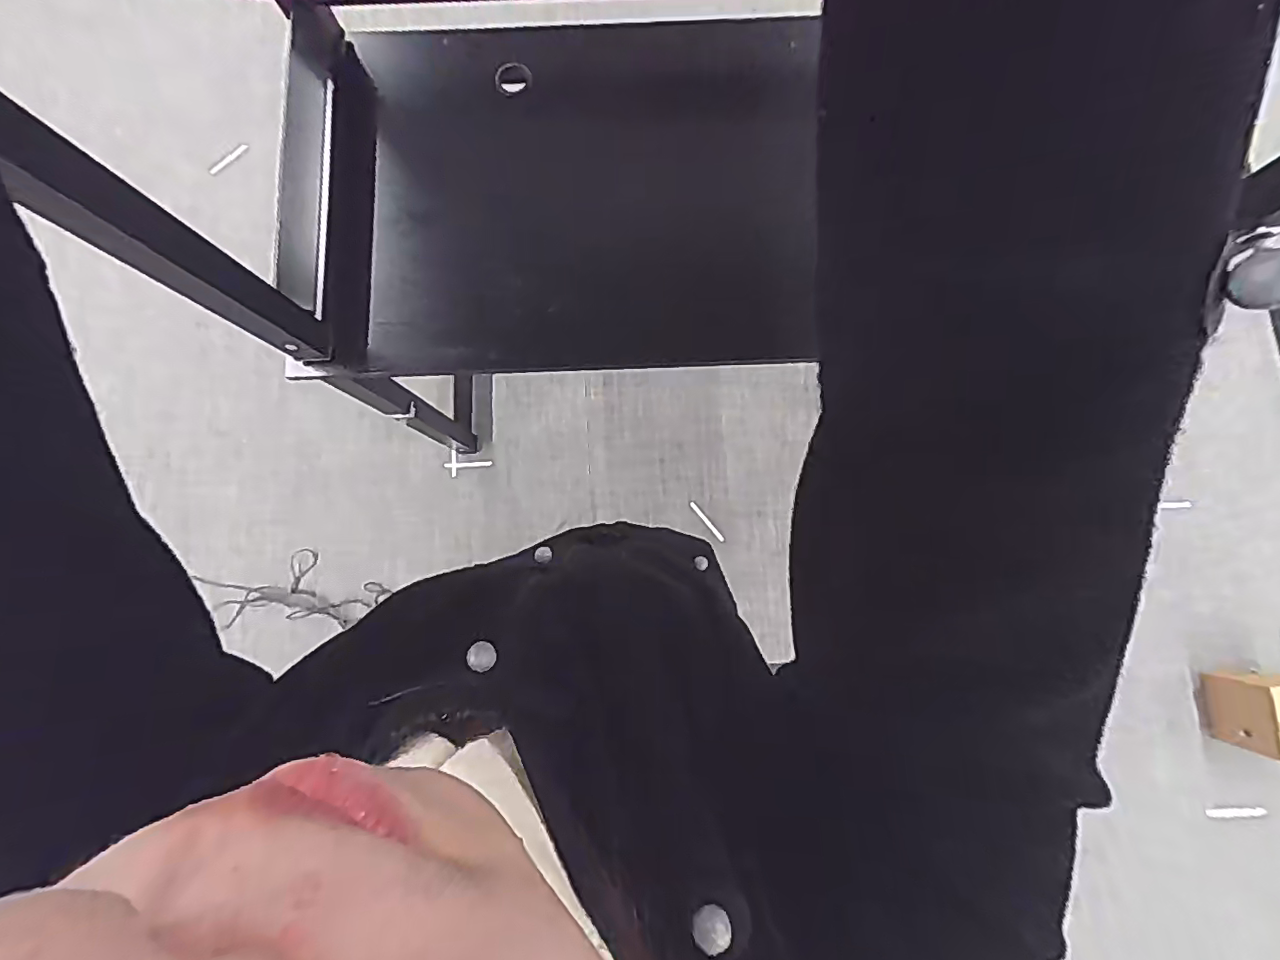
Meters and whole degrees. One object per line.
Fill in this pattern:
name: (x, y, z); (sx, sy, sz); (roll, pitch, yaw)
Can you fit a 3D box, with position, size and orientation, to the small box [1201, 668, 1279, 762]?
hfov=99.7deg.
small box: (1.574, 0.580, 1.349); (0.168, 0.176, 0.179); (-3, 83, 0)
